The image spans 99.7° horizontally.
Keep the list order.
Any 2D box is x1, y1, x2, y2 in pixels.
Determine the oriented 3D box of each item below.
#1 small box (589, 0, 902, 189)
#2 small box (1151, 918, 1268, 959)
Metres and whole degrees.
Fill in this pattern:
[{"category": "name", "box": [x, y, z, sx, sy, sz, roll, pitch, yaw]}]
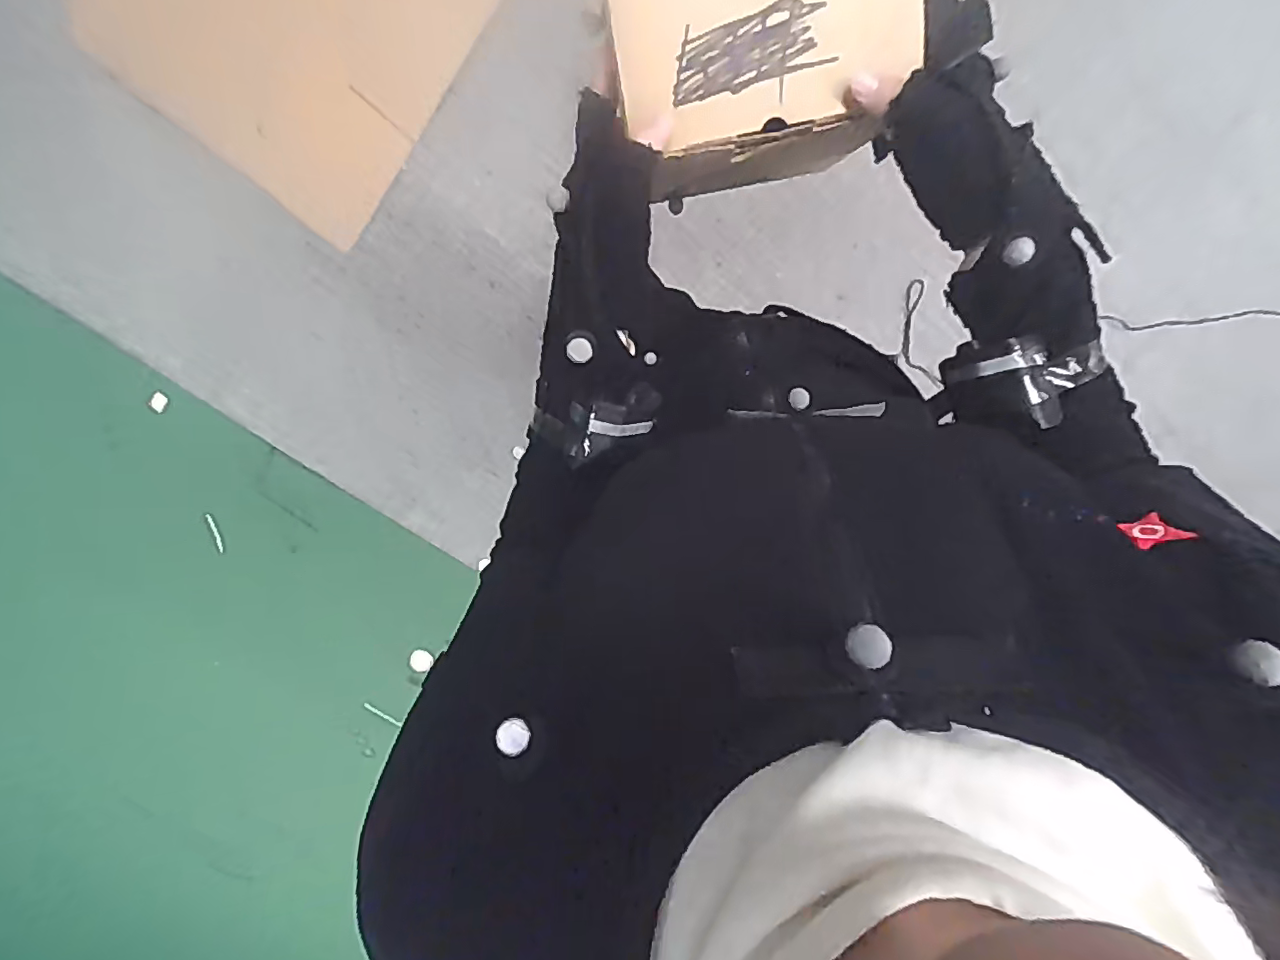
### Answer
[{"category": "small box", "box": [0.053, -0.310, 0.359, 0.168, 0.176, 0.179, -12, 109, 5]}, {"category": "small box", "box": [1.124, 0.980, 1.016, 0.168, 0.176, 0.179, 38, 106, -17]}]
